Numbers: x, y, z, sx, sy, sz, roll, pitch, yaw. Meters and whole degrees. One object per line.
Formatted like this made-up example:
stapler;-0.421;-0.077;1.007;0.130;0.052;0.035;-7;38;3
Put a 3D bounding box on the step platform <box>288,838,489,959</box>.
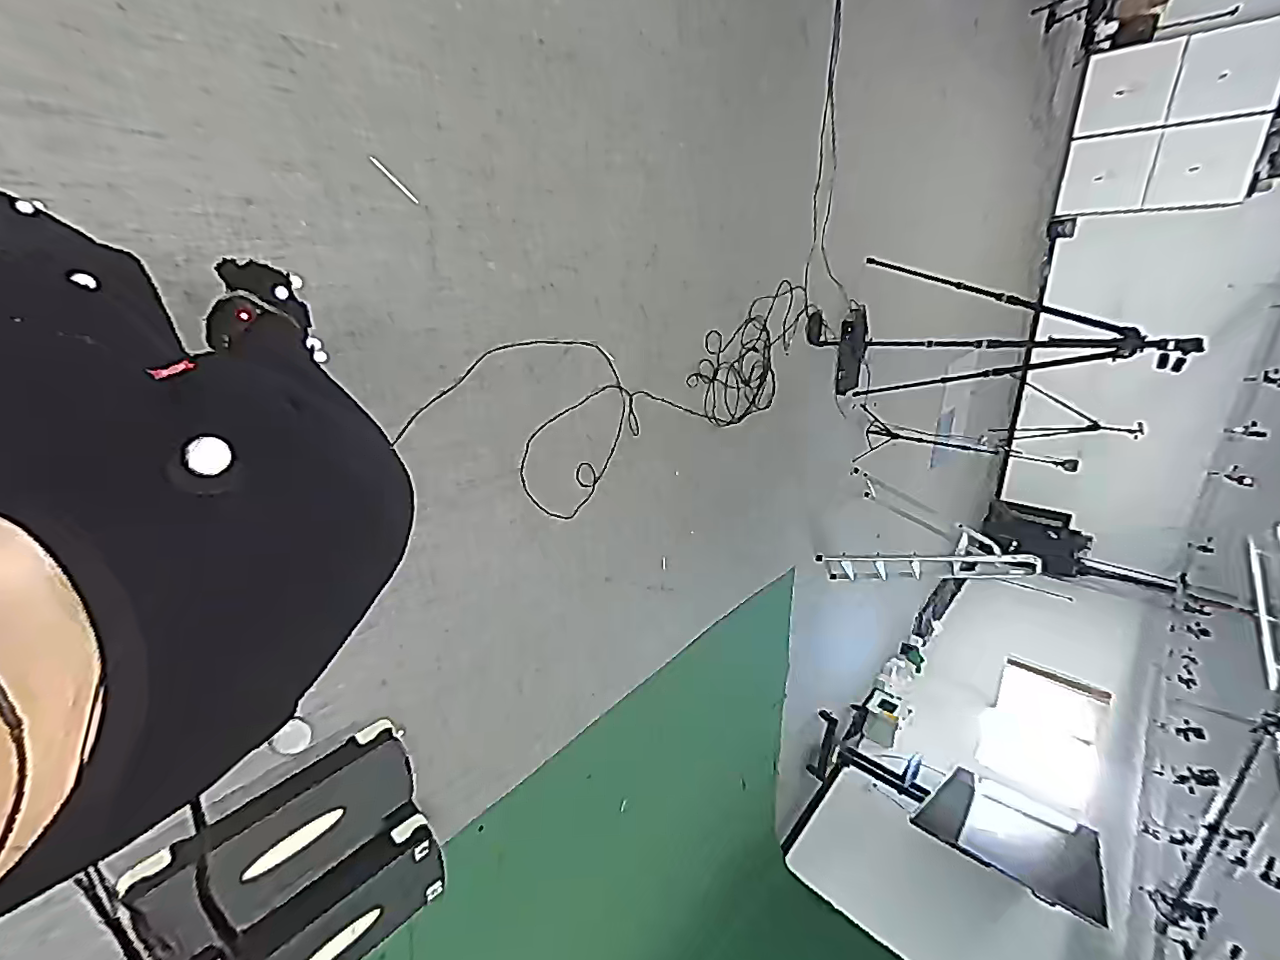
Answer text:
step platform;-0.776;1.371;1.510;0.684;0.204;0.286;-25;121;-43
